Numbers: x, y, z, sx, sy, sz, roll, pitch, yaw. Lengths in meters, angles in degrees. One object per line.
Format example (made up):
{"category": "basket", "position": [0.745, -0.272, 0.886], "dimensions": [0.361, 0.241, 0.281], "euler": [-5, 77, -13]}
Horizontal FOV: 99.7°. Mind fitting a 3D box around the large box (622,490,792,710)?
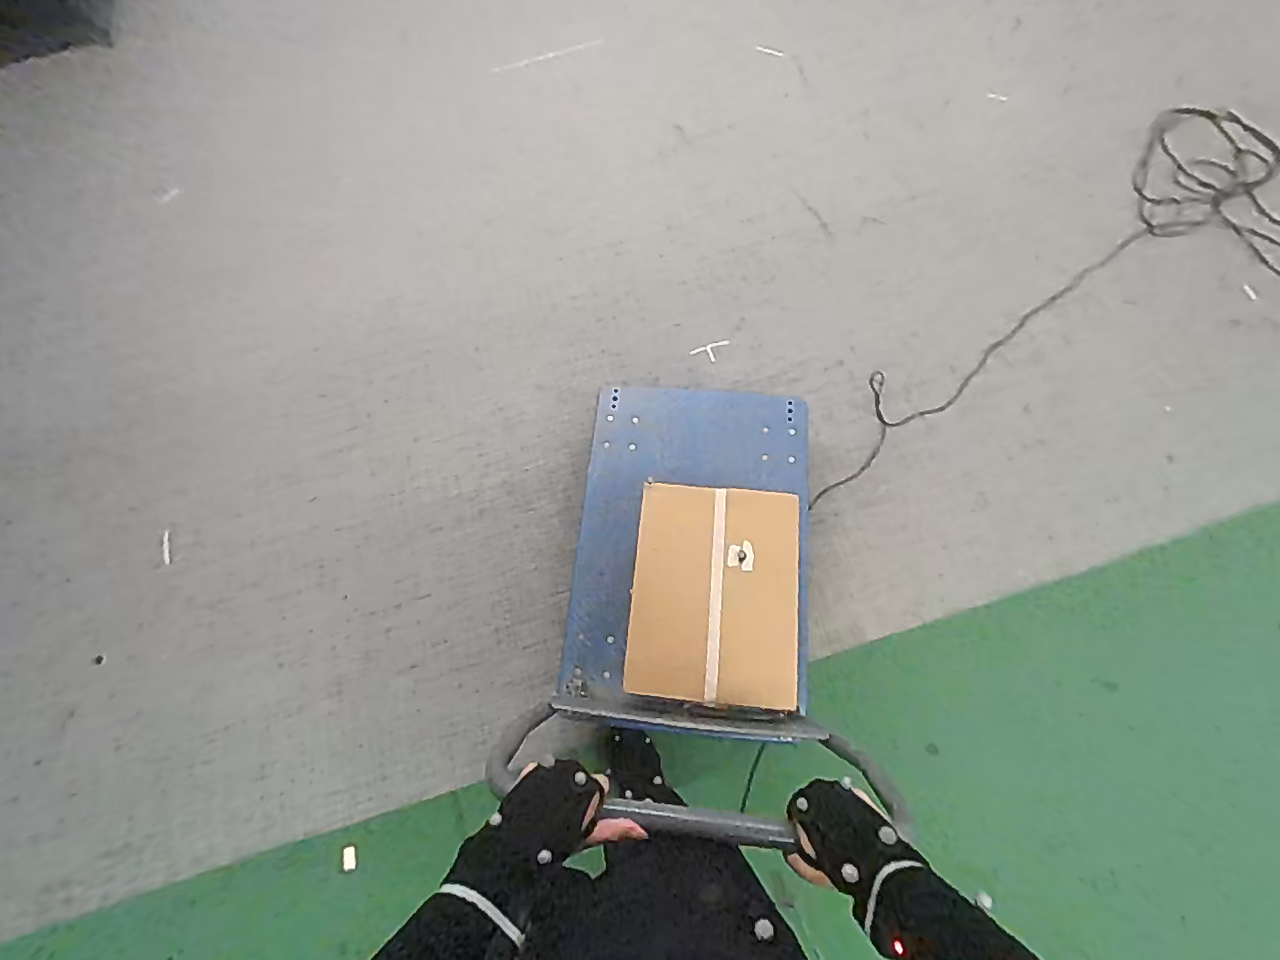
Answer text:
{"category": "large box", "position": [0.145, 0.270, 1.185], "dimensions": [0.320, 0.320, 0.408], "euler": [5, 70, 4]}
